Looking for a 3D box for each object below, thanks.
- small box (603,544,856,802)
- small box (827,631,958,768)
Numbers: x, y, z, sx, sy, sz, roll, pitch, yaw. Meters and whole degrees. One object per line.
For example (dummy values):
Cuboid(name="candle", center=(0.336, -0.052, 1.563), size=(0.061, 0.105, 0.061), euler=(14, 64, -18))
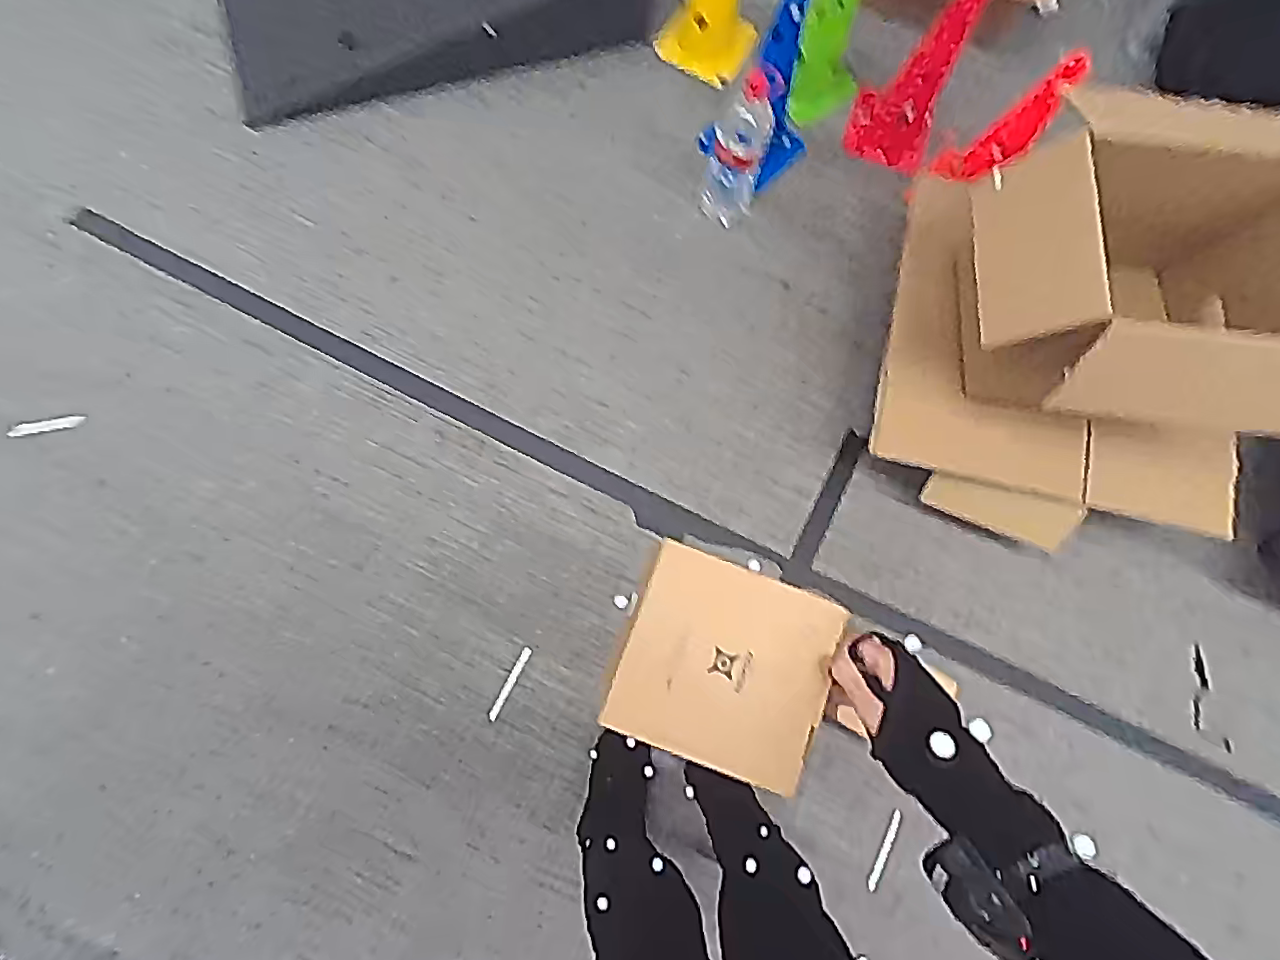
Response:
Cuboid(name="small box", center=(0.074, 0.171, 0.531), size=(0.179, 0.176, 0.168), euler=(21, 79, 1))
Cuboid(name="small box", center=(0.444, 0.399, 1.025), size=(0.179, 0.176, 0.168), euler=(32, 80, 2))
